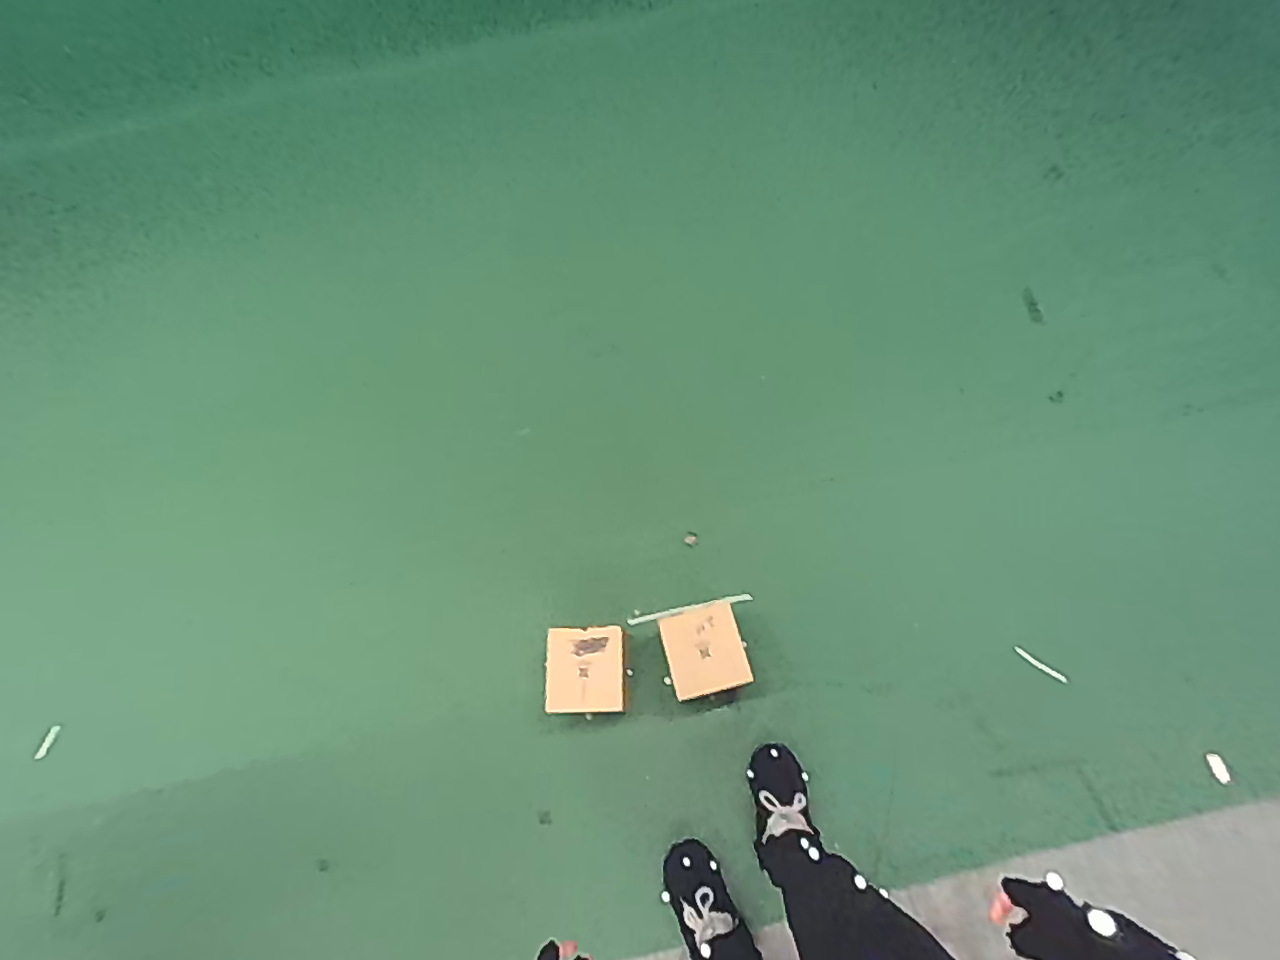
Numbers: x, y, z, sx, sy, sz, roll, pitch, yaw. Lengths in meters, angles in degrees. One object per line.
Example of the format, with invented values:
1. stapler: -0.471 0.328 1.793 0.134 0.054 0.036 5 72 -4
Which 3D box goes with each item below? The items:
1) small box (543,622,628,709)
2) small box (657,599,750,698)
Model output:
1. small box: -0.117 0.425 1.230 0.168 0.176 0.179 -2 68 3
2. small box: 0.139 0.387 1.229 0.168 0.176 0.179 -13 67 -3
